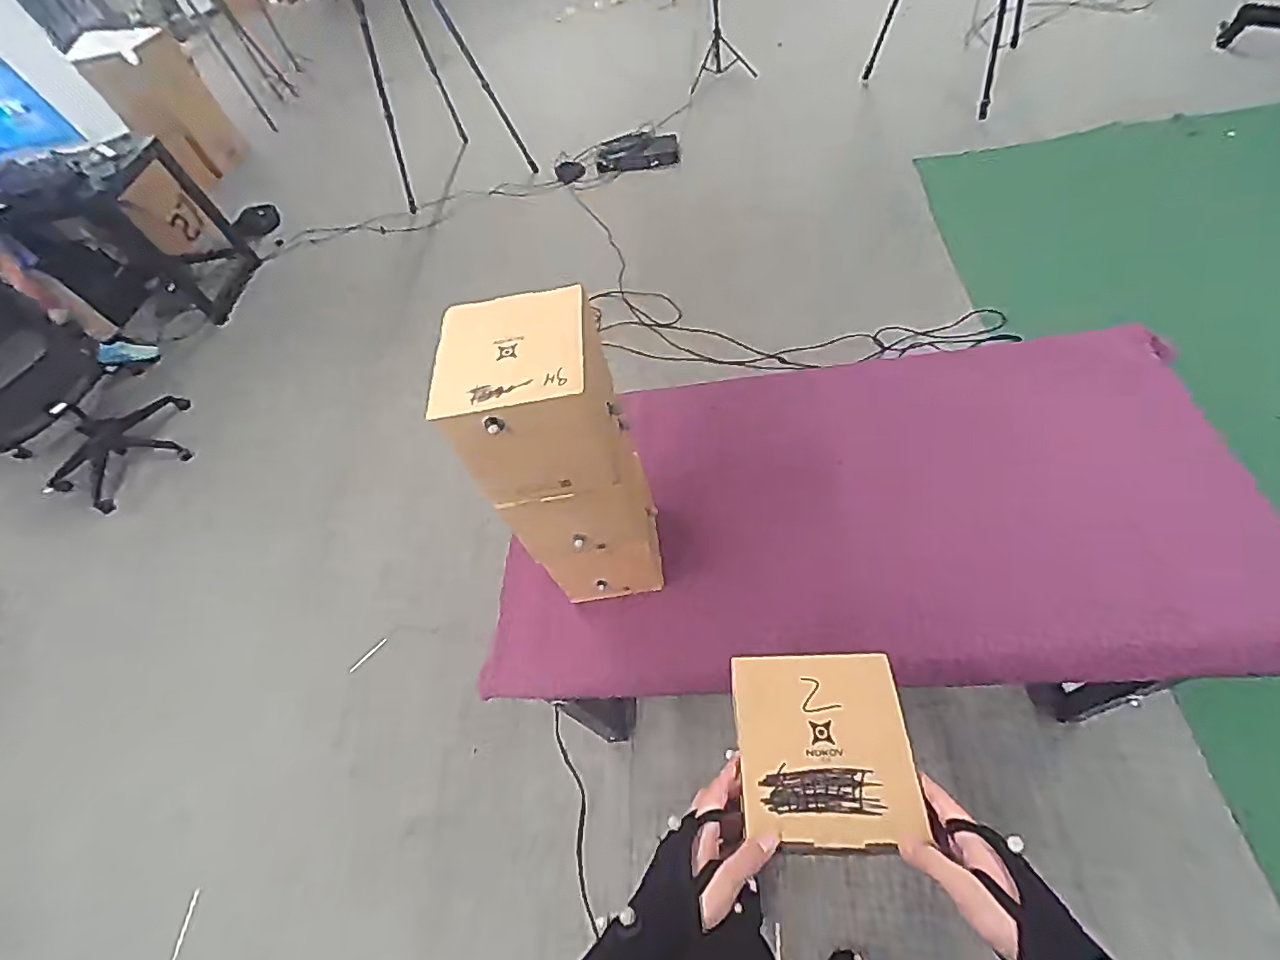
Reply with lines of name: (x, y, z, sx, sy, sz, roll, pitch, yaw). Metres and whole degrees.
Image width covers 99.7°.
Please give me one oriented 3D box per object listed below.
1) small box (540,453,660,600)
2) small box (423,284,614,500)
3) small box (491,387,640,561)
small box: (-0.064, 0.082, 0.911, 0.168, 0.176, 0.179, -10, 56, 5)
small box: (-0.128, -0.099, 0.645, 0.168, 0.176, 0.179, -9, 54, 7)
small box: (-0.100, -0.007, 0.778, 0.168, 0.176, 0.179, -11, 55, 5)
